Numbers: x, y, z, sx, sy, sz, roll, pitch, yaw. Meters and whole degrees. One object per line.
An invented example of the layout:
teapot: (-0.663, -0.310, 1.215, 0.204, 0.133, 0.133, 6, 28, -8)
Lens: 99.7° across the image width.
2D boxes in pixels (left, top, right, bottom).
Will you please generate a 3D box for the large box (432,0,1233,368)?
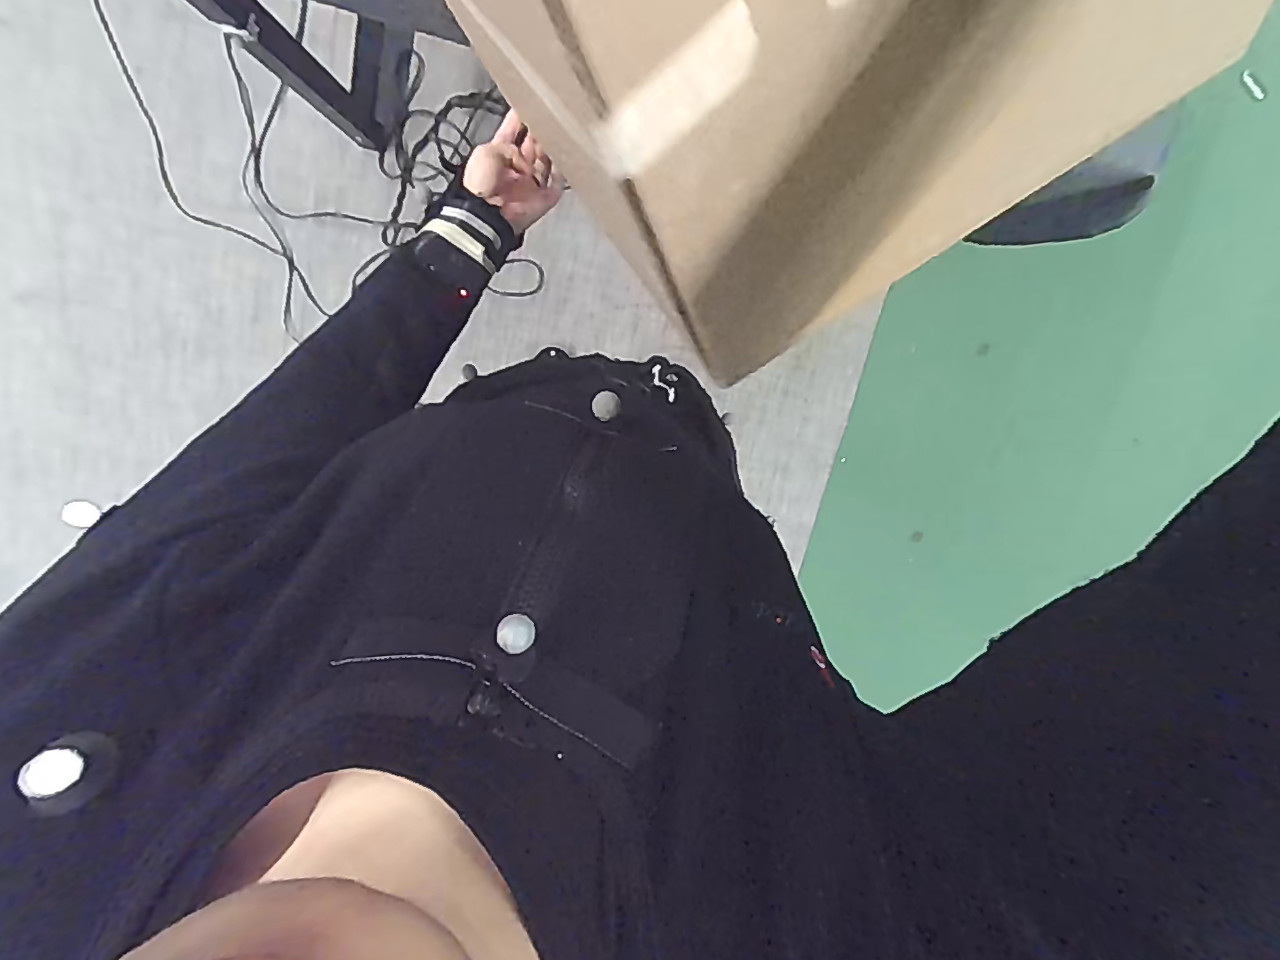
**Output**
large box: (0.036, -0.341, 0.269, 0.320, 0.320, 0.408, -35, 60, 5)
